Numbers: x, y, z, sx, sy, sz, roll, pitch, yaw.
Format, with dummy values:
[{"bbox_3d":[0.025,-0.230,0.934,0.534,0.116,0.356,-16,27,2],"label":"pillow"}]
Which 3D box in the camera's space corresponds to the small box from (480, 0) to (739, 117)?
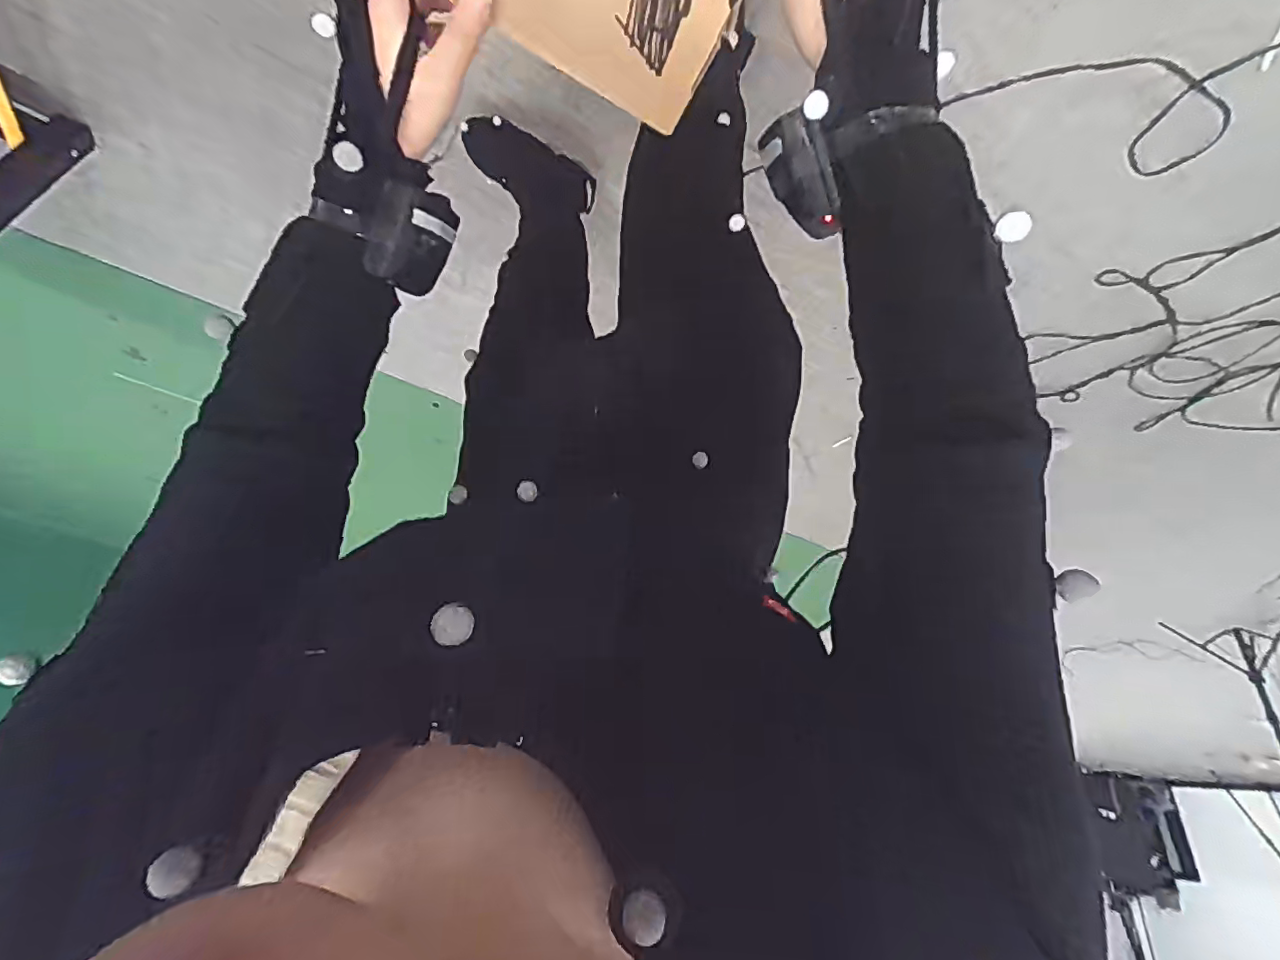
[{"bbox_3d":[-0.006,-0.368,0.307,0.179,0.176,0.168,21,148,-19],"label":"small box"}]
